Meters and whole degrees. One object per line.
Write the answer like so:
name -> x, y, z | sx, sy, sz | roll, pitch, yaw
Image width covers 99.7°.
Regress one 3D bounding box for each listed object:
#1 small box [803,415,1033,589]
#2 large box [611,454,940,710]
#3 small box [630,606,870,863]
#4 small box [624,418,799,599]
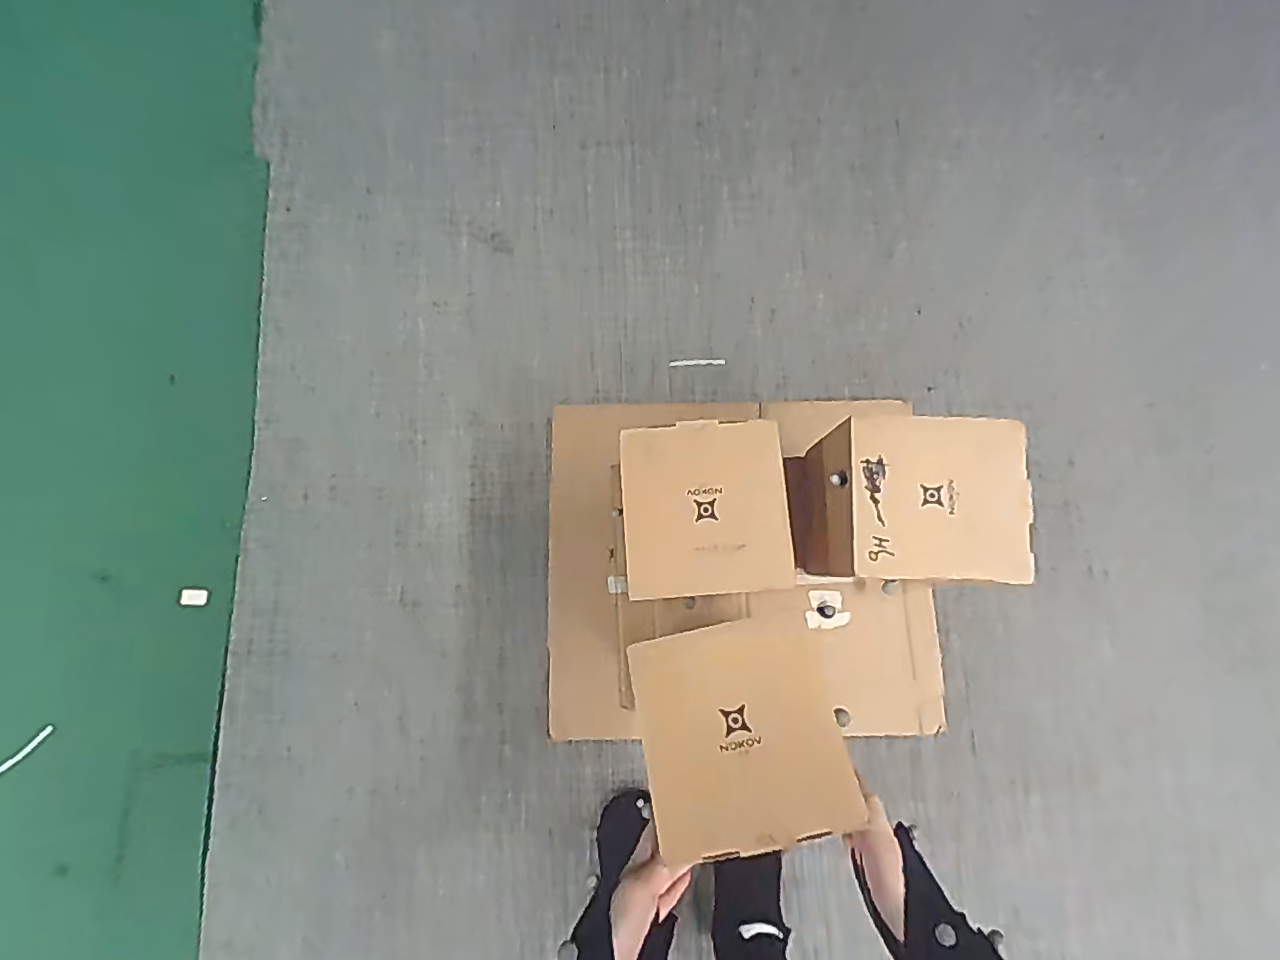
small box -> 0.299, 0.032, 0.613 | 0.179, 0.176, 0.168 | 3, 80, 1
large box -> 0.167, 0.148, 0.843 | 0.408, 0.320, 0.320 | -3, 81, -2
small box -> 0.094, 0.244, 0.528 | 0.168, 0.176, 0.179 | -14, 62, 2
small box -> 0.068, 0.041, 0.615 | 0.168, 0.176, 0.179 | -4, 80, 0
